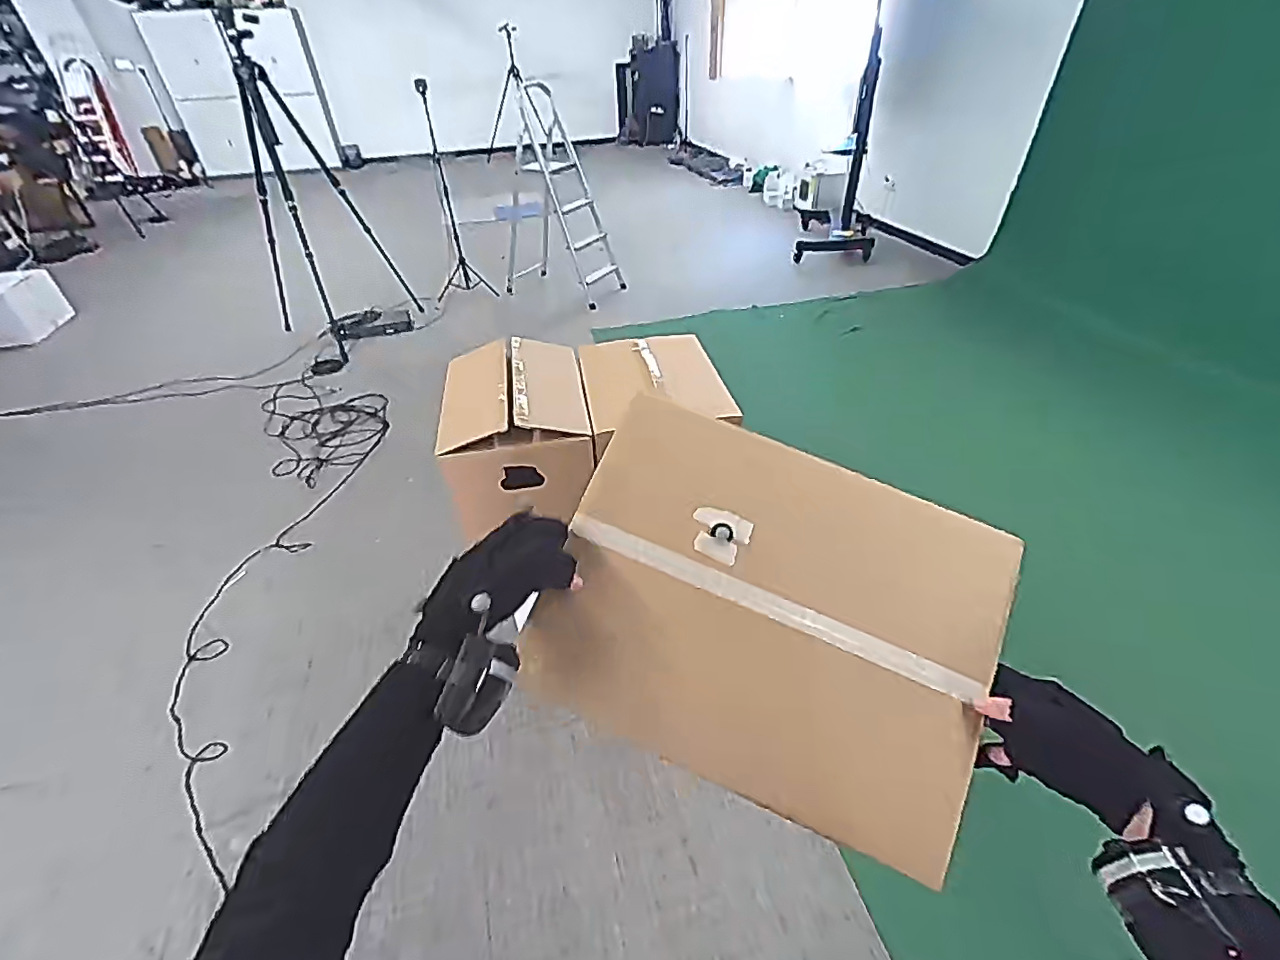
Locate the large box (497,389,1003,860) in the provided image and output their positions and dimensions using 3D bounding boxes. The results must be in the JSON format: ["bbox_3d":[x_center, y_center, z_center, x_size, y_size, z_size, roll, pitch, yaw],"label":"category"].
[{"bbox_3d":[0.115,0.149,0.651,0.408,0.320,0.320,23,76,9],"label":"large box"}]
